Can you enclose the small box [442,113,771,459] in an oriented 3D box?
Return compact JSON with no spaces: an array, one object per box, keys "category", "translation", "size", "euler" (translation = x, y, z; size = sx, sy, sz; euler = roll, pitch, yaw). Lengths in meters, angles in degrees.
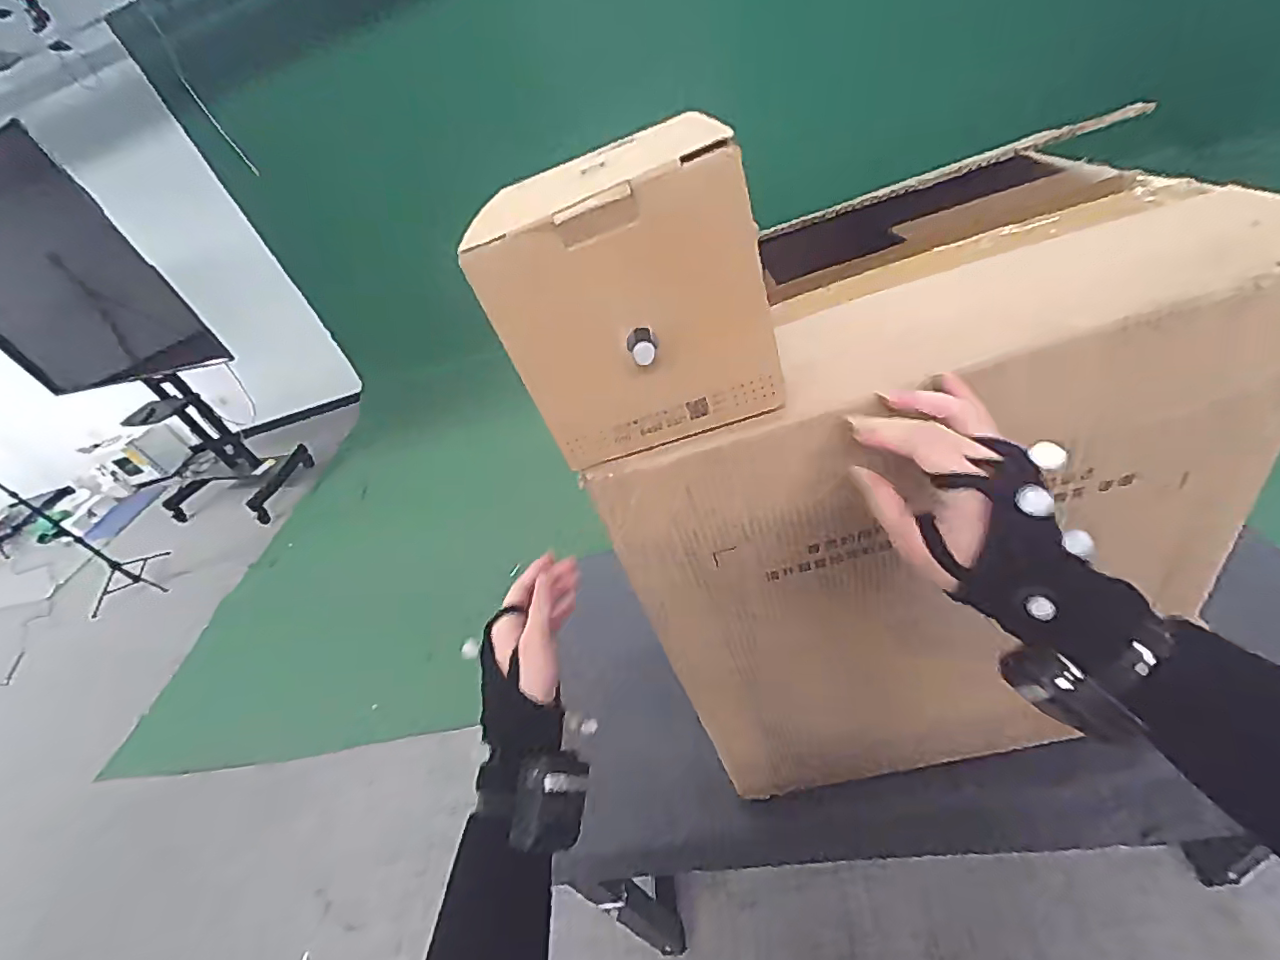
[{"category":"small box","translation":[-0.012,-0.134,0.399],"size":[0.168,0.176,0.179],"euler":[-17,38,10]}]
